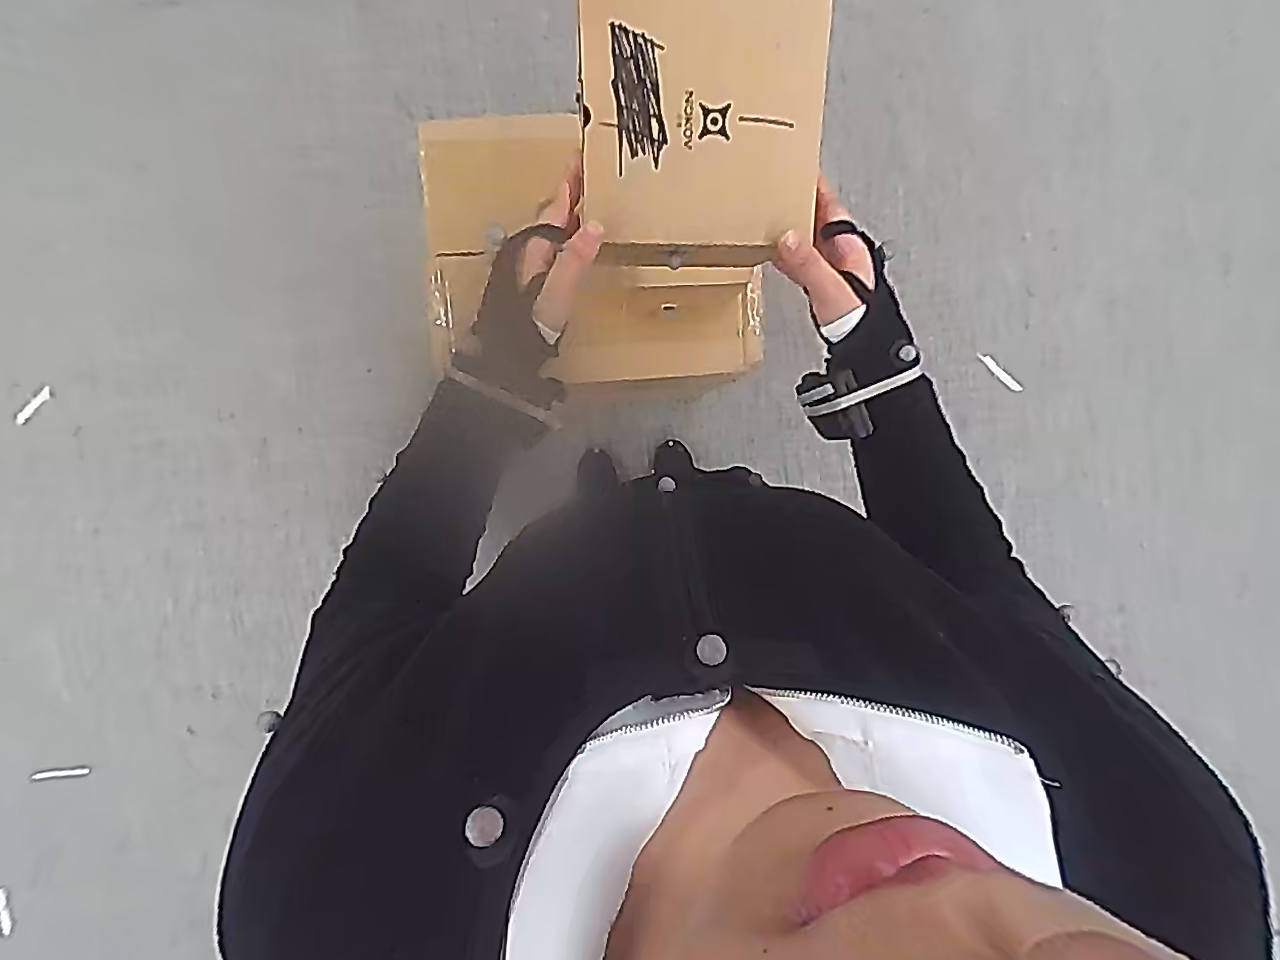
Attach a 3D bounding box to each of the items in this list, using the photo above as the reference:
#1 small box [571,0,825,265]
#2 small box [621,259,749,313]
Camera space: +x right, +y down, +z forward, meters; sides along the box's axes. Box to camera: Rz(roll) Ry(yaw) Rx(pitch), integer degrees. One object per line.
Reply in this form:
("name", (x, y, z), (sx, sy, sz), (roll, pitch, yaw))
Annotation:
("small box", (0.035, -0.280, 0.464), (0.179, 0.176, 0.168), (-1, 107, -5))
("small box", (0.054, -0.346, 0.767), (0.168, 0.176, 0.179), (-4, 97, 0))
